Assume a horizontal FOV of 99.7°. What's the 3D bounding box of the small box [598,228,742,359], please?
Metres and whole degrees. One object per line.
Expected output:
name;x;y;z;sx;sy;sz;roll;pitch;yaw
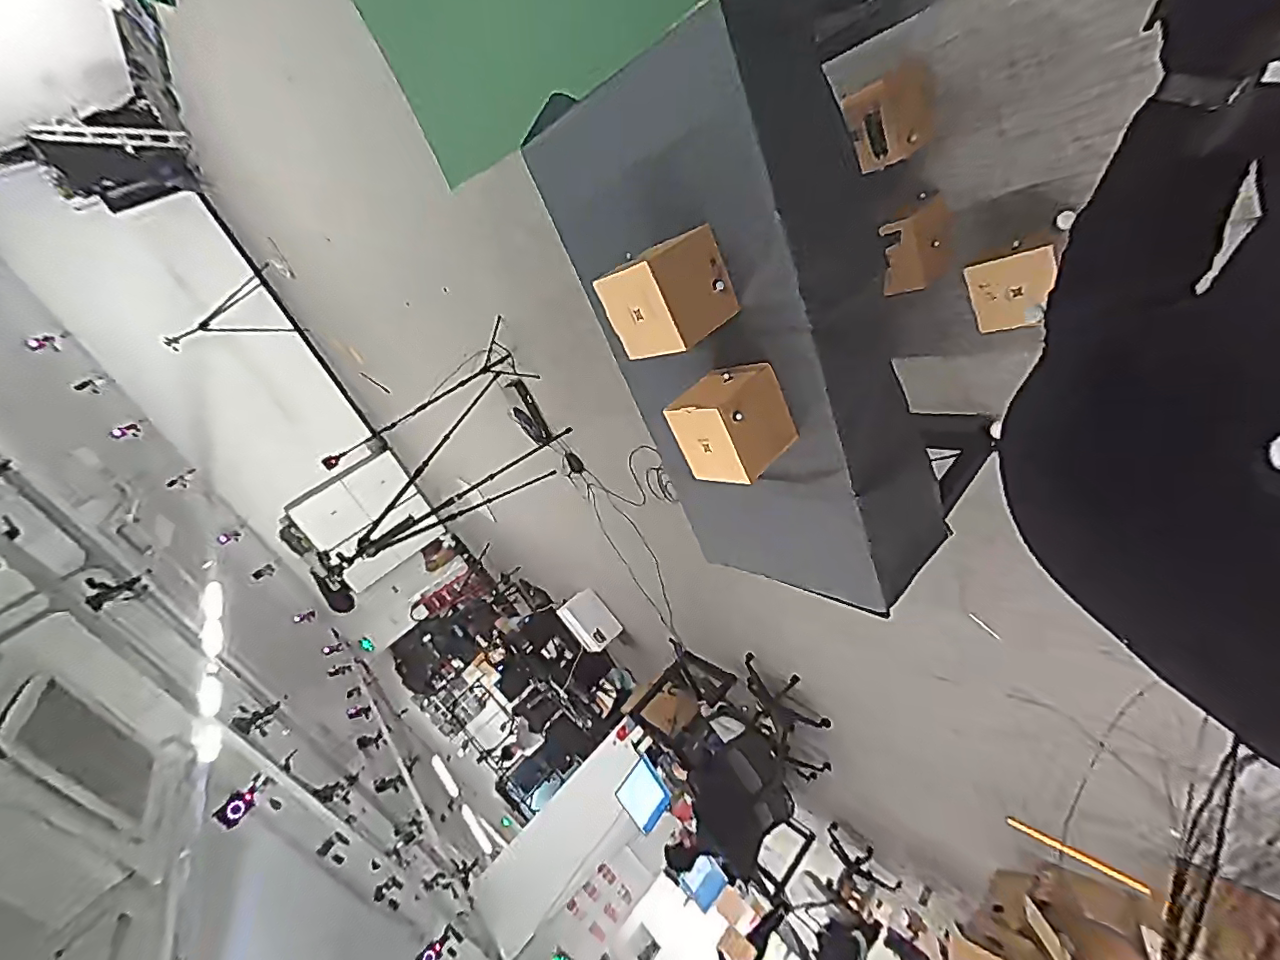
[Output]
small box;0.058;-0.345;1.019;0.179;0.176;0.168;9;134;53

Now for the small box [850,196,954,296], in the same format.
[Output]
small box;0.672;-0.599;1.379;0.168;0.176;0.179;9;134;53

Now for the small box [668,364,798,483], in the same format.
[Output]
small box;0.196;-0.117;1.112;0.168;0.176;0.179;7;131;55
